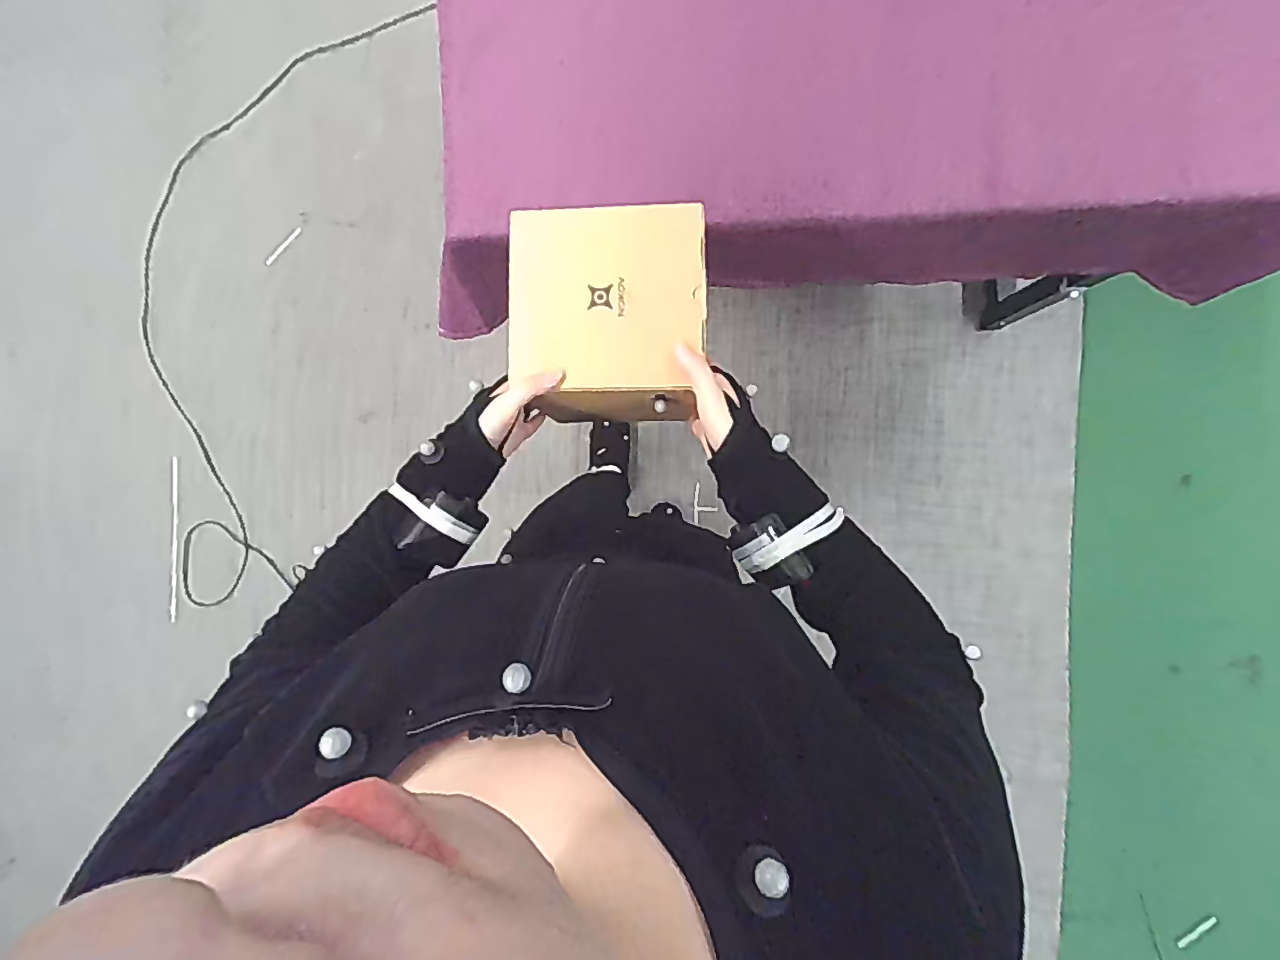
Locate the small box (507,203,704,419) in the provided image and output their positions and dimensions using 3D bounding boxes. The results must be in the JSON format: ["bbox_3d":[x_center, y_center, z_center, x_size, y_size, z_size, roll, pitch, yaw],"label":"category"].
[{"bbox_3d":[-0.024,-0.158,0.559,0.179,0.176,0.168,0,86,5],"label":"small box"}]
